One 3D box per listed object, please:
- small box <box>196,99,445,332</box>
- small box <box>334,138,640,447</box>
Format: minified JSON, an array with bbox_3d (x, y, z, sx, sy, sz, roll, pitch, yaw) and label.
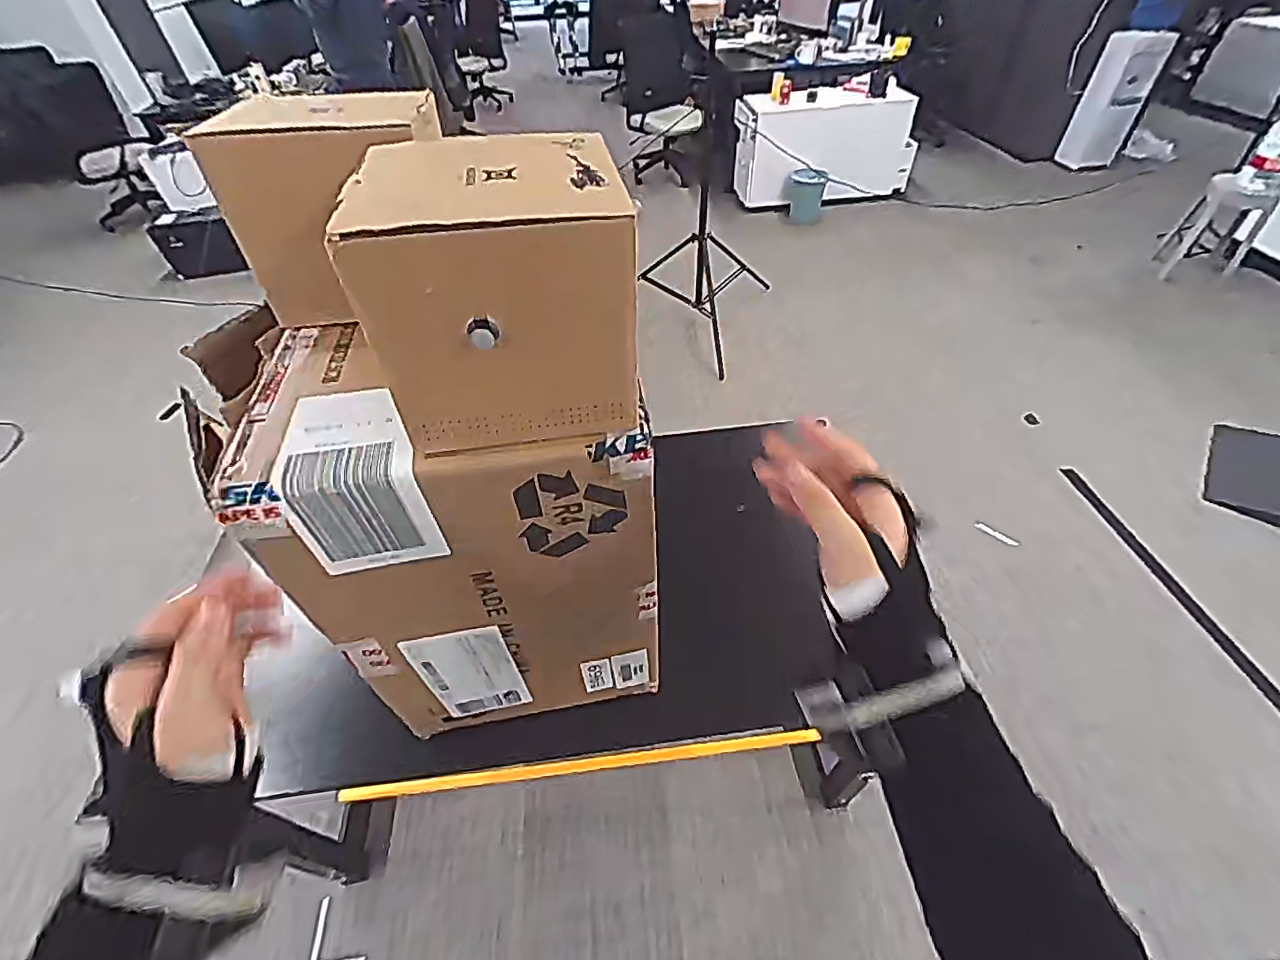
[{"bbox_3d":[-0.281,-0.269,0.550,0.179,0.176,0.168,-8,44,-6],"label":"small box"},{"bbox_3d":[-0.100,-0.143,0.424,0.179,0.176,0.168,-9,49,-6],"label":"small box"}]
